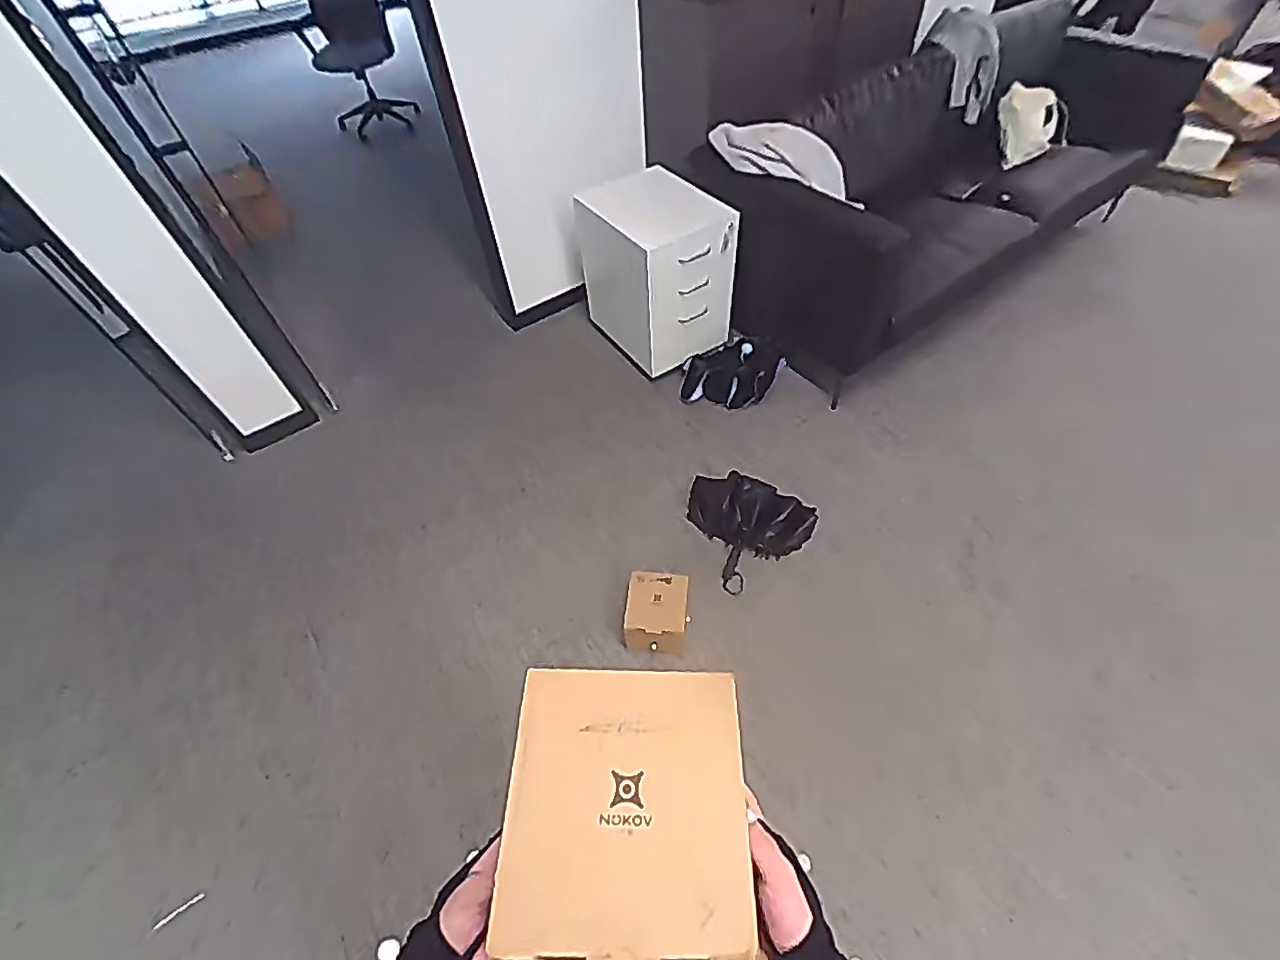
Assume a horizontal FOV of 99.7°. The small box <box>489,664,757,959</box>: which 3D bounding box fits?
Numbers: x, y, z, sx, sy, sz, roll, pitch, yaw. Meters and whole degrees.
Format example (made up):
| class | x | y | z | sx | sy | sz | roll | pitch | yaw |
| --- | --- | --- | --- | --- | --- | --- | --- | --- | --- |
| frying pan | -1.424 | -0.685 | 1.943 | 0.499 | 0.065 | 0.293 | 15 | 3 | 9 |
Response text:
| class | x | y | z | sx | sy | sz | roll | pitch | yaw |
| --- | --- | --- | --- | --- | --- | --- | --- | --- | --- |
| small box | -0.010 | 0.266 | 0.437 | 0.168 | 0.176 | 0.179 | 1 | 50 | -1 |
